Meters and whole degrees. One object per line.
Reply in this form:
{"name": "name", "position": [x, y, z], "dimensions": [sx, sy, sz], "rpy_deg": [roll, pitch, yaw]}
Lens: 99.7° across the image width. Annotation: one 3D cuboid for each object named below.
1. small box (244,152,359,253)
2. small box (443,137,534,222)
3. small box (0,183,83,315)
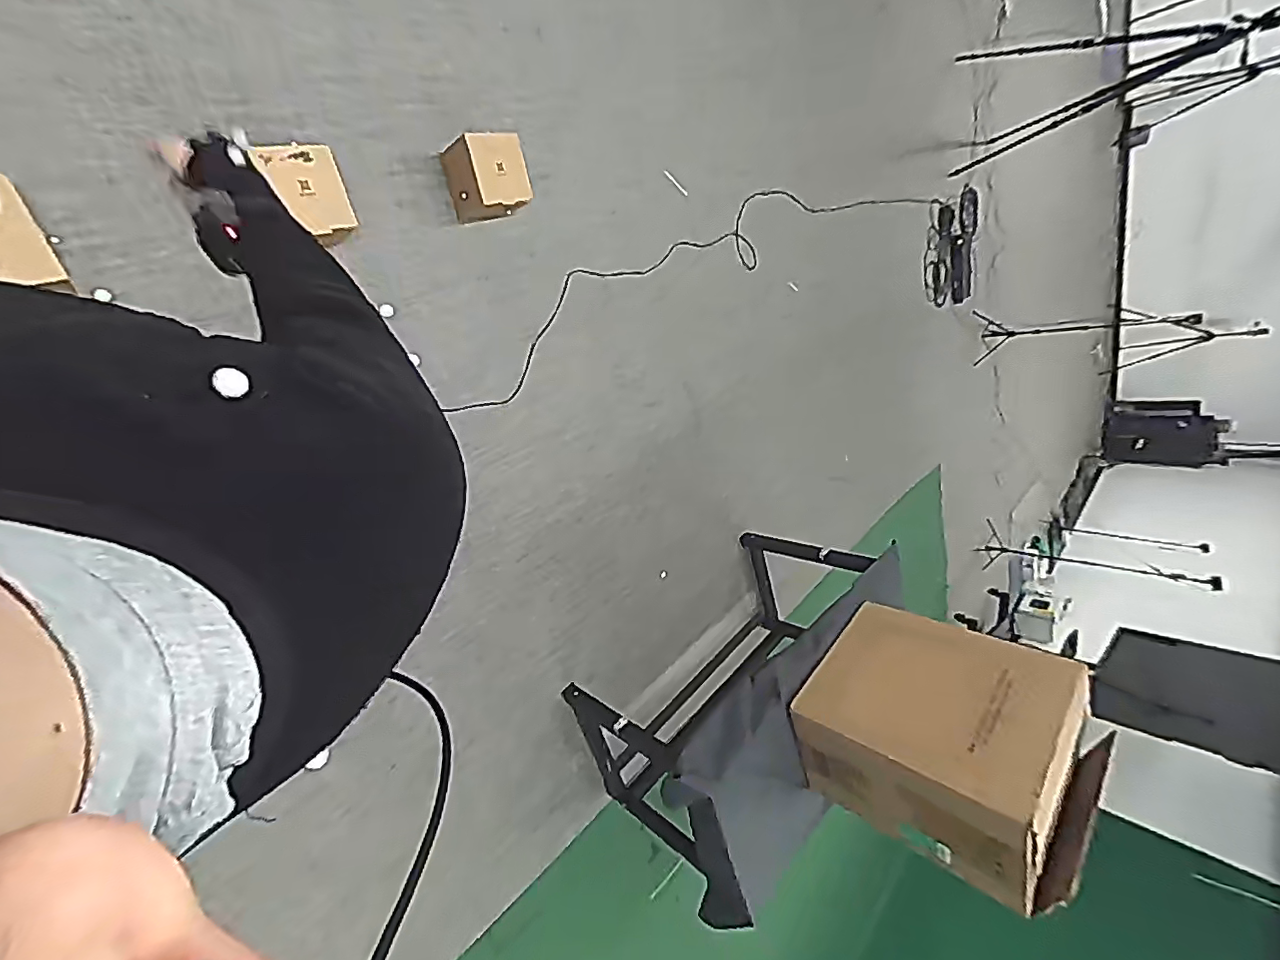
{"name": "small box", "position": [-0.787, -0.636, 1.255], "dimensions": [0.168, 0.176, 0.179], "rpy_deg": [-28, 114, -35]}
{"name": "small box", "position": [-0.432, -0.848, 1.538], "dimensions": [0.168, 0.176, 0.179], "rpy_deg": [-29, 113, -36]}
{"name": "small box", "position": [-1.153, -0.403, 0.963], "dimensions": [0.168, 0.176, 0.179], "rpy_deg": [-31, 116, -34]}
